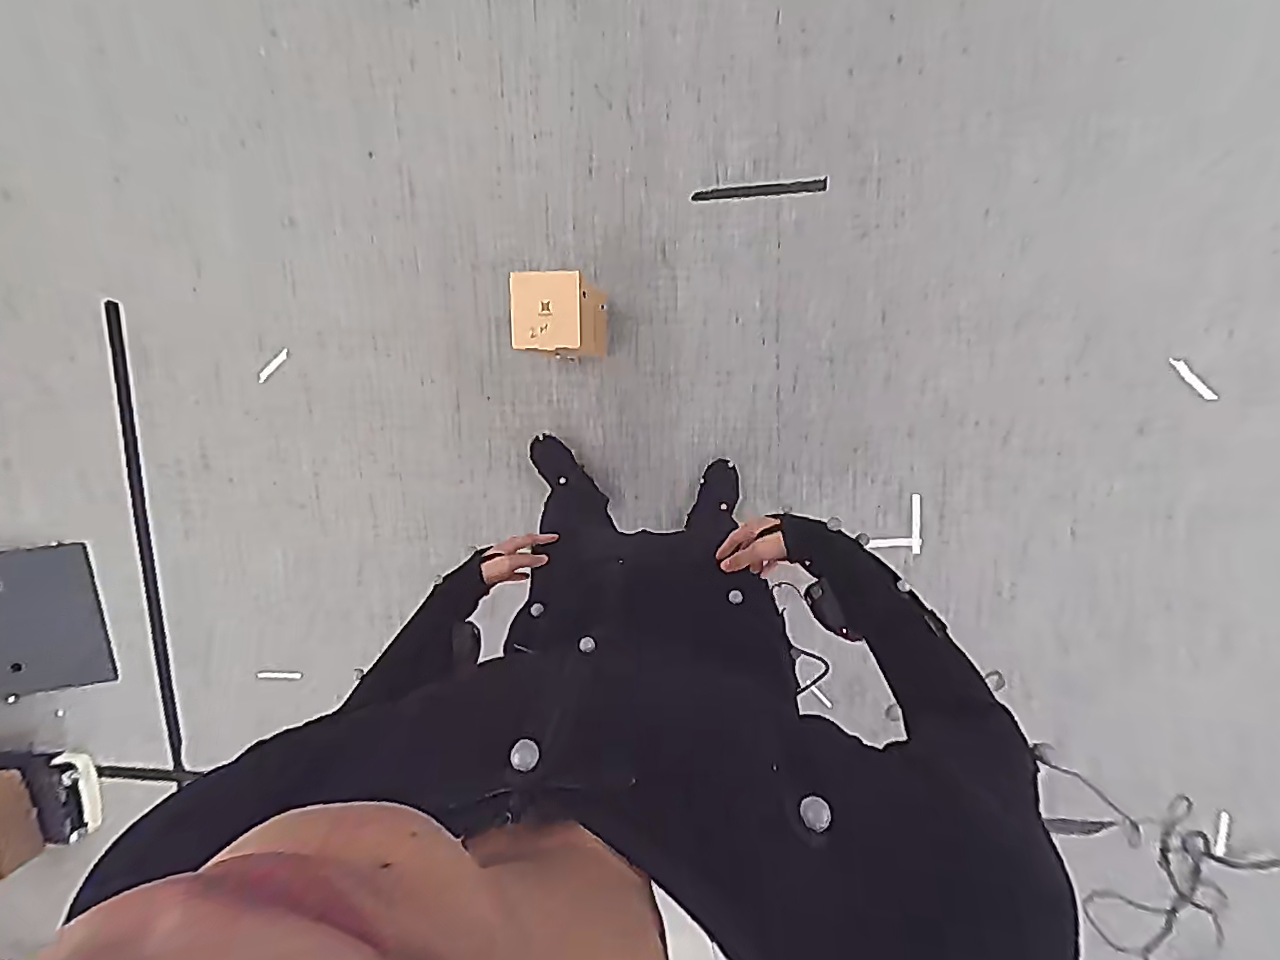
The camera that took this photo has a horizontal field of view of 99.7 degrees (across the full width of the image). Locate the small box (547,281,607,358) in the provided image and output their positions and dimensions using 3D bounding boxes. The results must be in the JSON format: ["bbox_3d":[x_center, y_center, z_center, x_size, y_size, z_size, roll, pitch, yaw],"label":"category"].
[{"bbox_3d":[-0.185,-0.434,1.478,0.168,0.176,0.179,2,97,6],"label":"small box"}]

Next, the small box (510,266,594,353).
[{"bbox_3d":[-0.210,-0.409,1.317,0.168,0.176,0.179,1,98,7],"label":"small box"}]
